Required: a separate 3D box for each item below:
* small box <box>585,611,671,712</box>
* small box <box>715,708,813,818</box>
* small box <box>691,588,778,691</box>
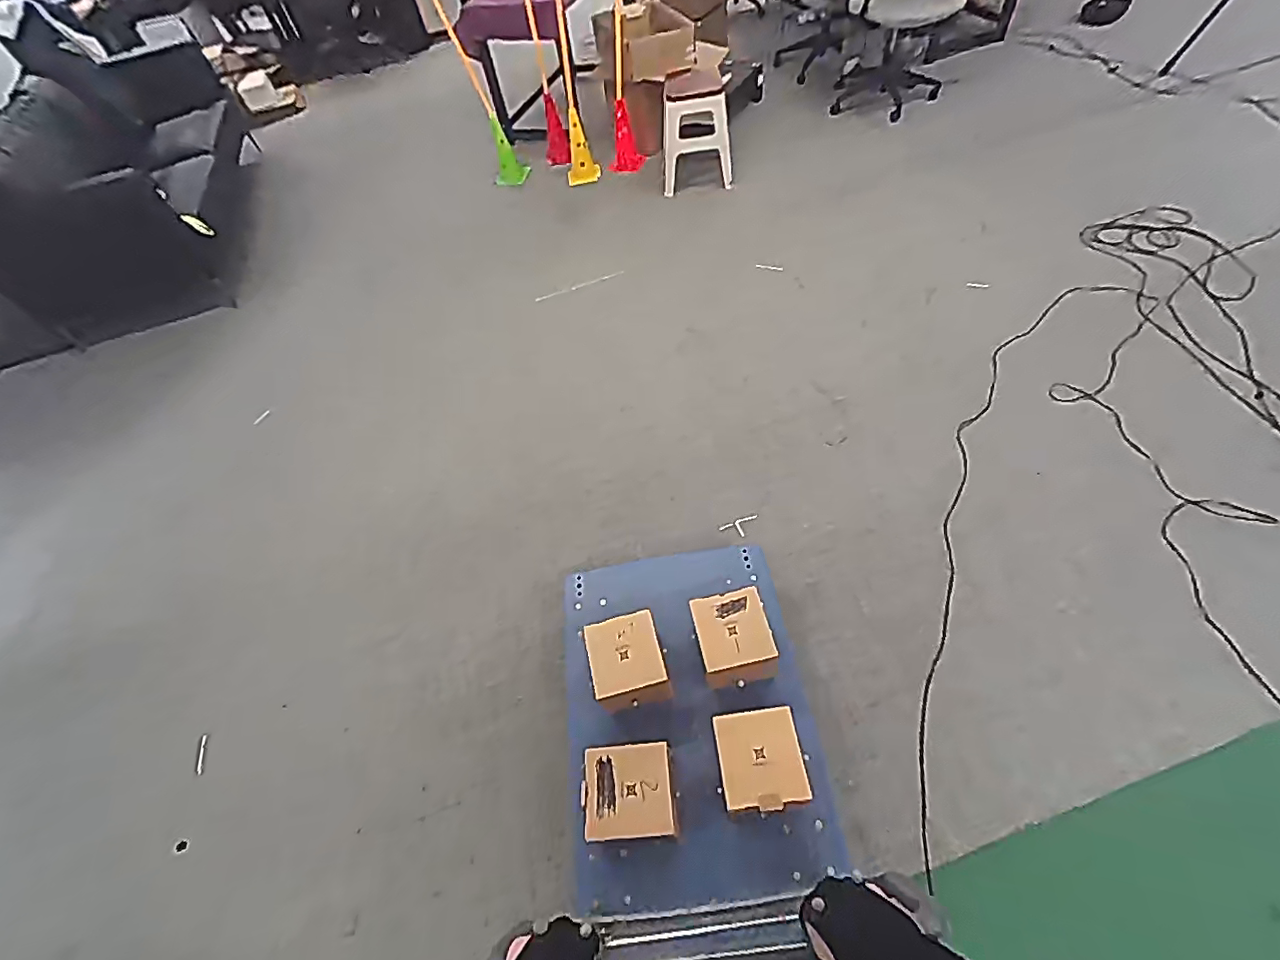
[{"bbox_3d":[-0.027,0.446,1.307,0.168,0.176,0.179,-14,54,-3],"label":"small box"},{"bbox_3d":[0.253,0.605,1.153,0.168,0.176,0.179,-9,54,2],"label":"small box"},{"bbox_3d":[0.223,0.389,1.310,0.168,0.176,0.179,-13,55,0],"label":"small box"}]
